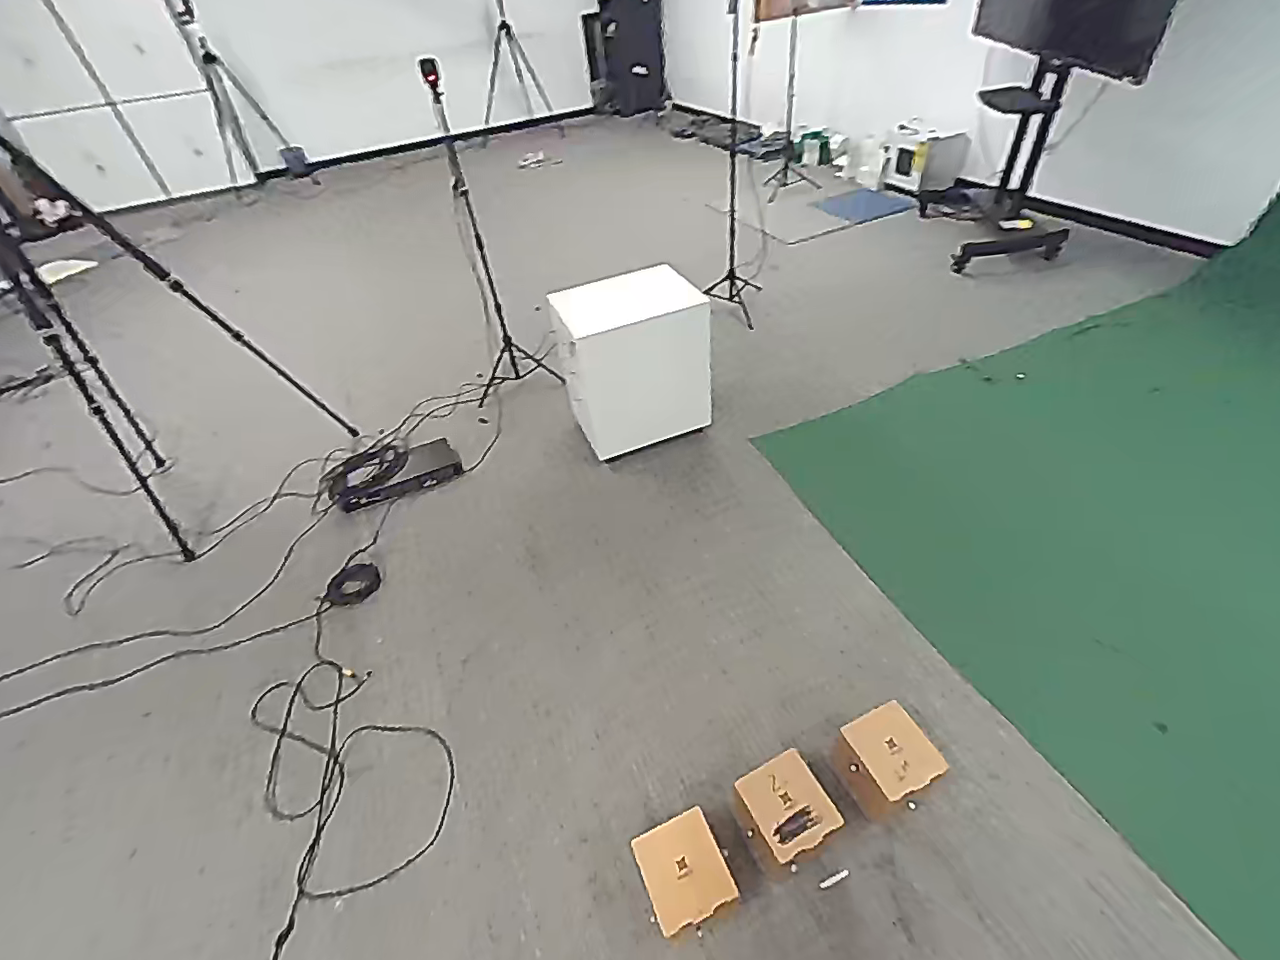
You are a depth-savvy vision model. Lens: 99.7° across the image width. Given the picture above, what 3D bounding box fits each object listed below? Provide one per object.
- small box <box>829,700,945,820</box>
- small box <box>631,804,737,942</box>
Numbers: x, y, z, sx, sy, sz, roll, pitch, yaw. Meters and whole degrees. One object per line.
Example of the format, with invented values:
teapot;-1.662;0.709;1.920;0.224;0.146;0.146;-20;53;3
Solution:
small box;0.576;0.669;1.290;0.168;0.176;0.179;-20;45;-13
small box;0.092;0.847;1.166;0.168;0.176;0.179;-20;45;-13
